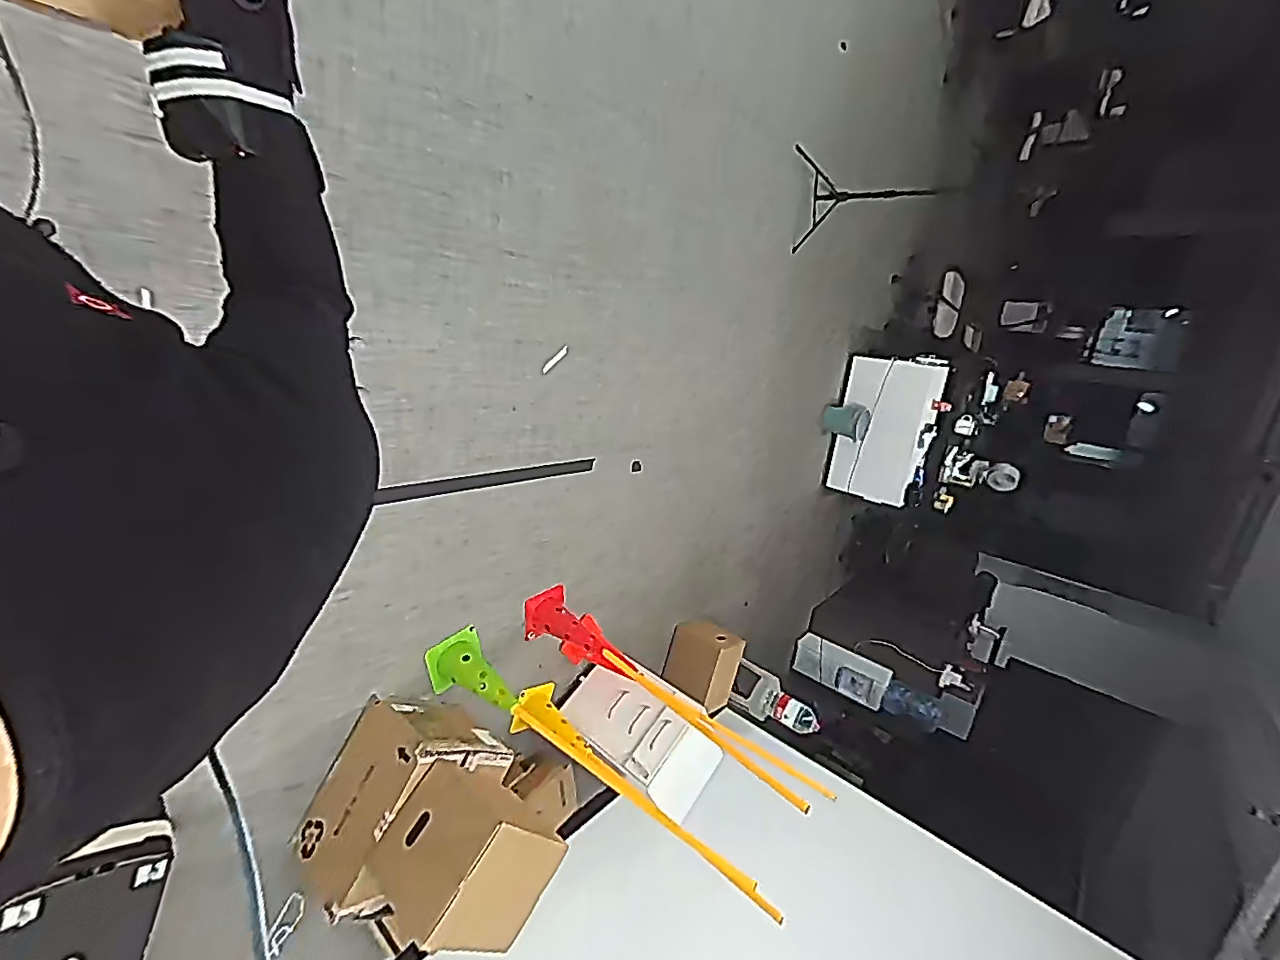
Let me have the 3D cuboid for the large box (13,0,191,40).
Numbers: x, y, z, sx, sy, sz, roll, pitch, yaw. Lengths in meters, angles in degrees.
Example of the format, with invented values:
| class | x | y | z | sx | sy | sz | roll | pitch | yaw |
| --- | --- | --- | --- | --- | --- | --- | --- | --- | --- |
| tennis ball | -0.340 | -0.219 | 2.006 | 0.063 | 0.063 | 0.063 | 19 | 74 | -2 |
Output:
| class | x | y | z | sx | sy | sz | roll | pitch | yaw |
| --- | --- | --- | --- | --- | --- | --- | --- | --- | --- |
| large box | -0.515 | -0.478 | 0.247 | 0.408 | 0.320 | 0.320 | -15 | 130 | -50 |
